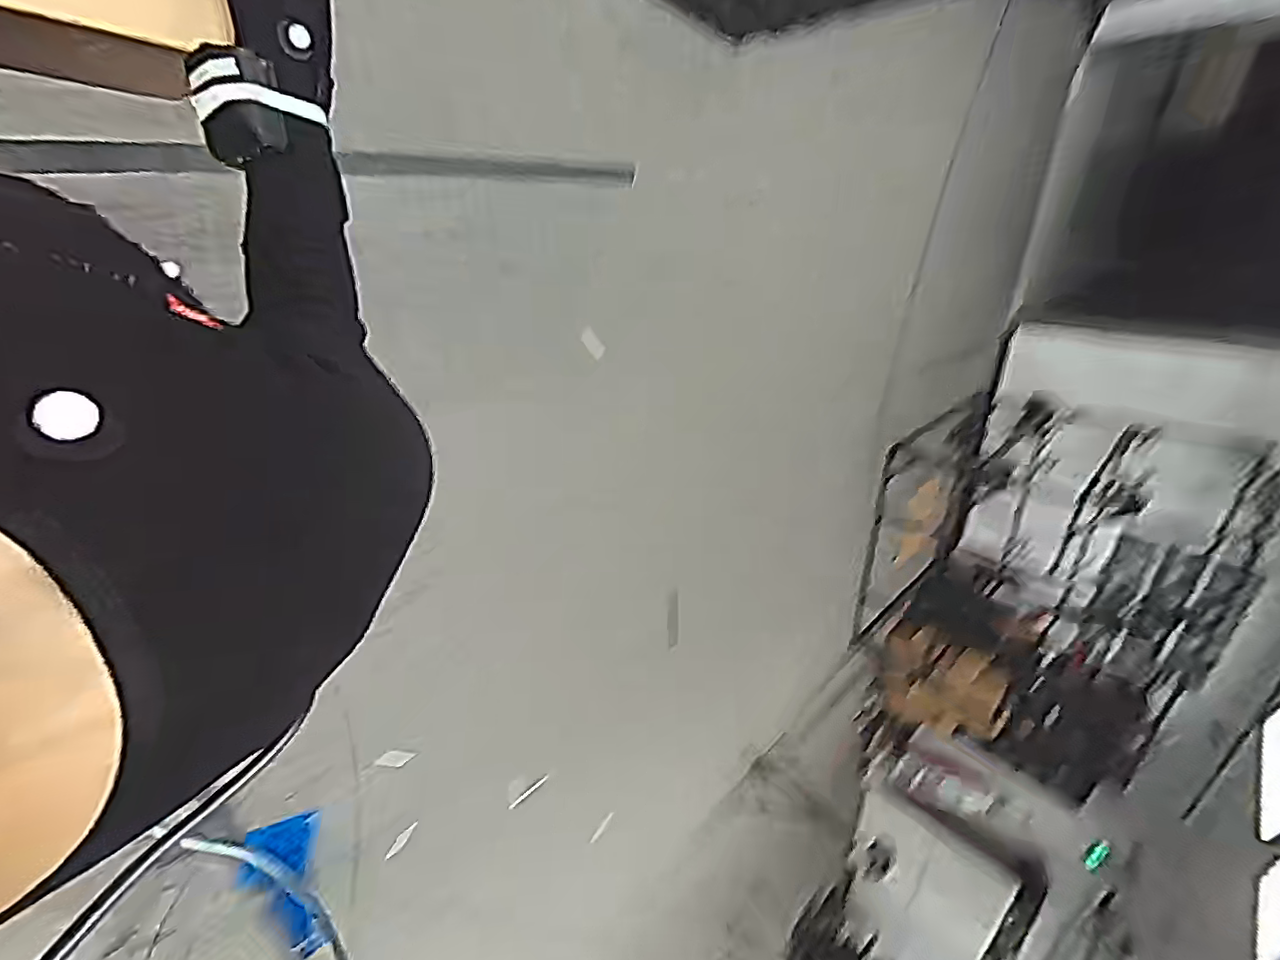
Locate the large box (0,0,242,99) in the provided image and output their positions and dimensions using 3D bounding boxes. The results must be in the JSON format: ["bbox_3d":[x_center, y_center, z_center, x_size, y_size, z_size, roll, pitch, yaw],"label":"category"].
[{"bbox_3d":[-0.534,-0.463,0.311,0.408,0.320,0.320,-17,123,-43],"label":"large box"}]

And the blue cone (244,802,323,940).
[{"bbox_3d":[-0.985,1.148,1.548,0.193,0.380,0.192,3,106,-47],"label":"blue cone"}]
